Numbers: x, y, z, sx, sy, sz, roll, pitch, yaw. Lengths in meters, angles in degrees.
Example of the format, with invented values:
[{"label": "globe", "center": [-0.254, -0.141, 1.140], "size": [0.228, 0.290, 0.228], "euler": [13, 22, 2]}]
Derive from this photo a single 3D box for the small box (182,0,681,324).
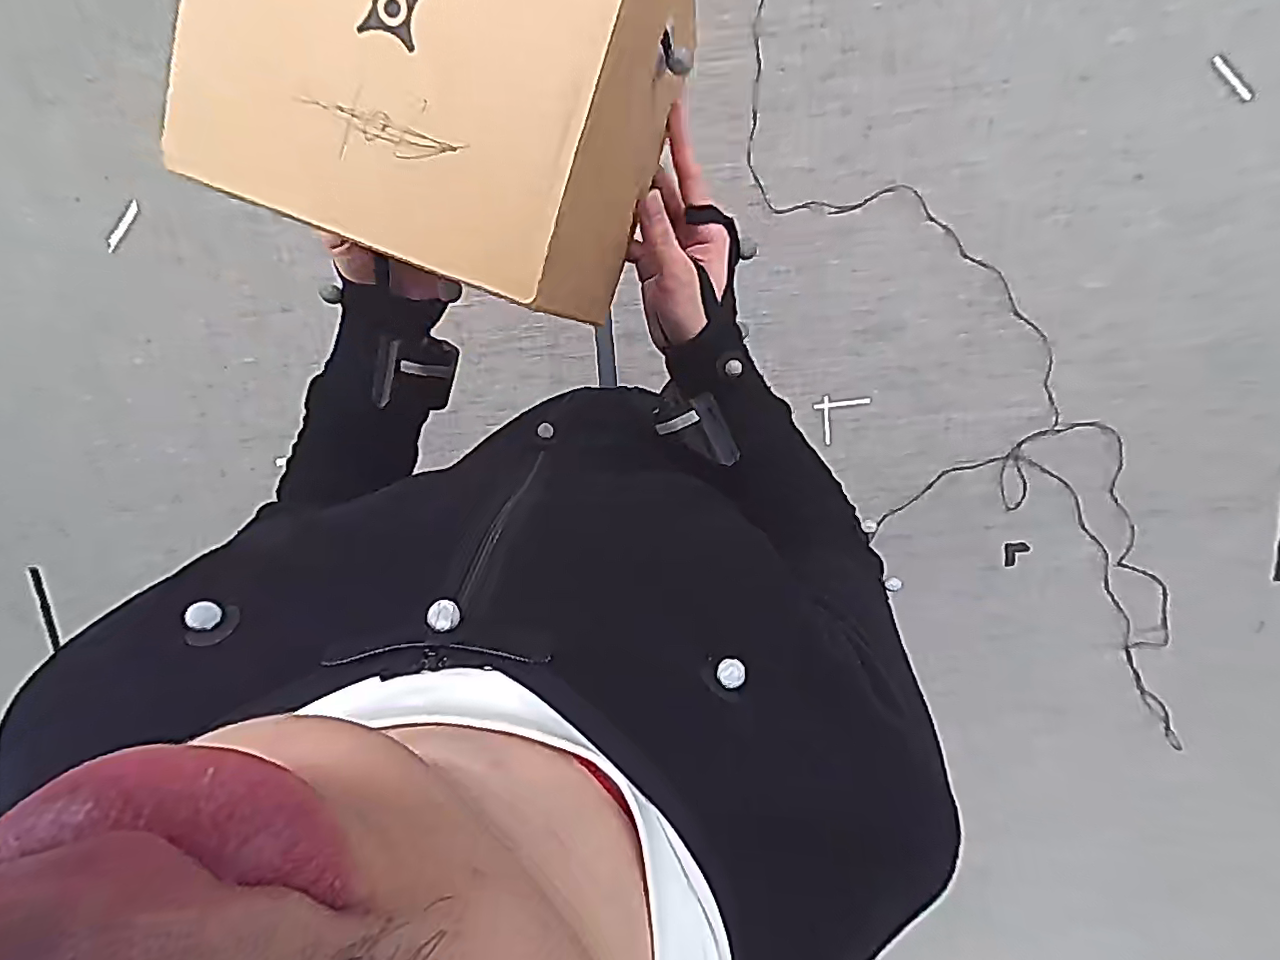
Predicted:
[{"label": "small box", "center": [-0.082, -0.196, 0.287], "size": [0.168, 0.176, 0.179], "euler": [20, 104, 1]}]
